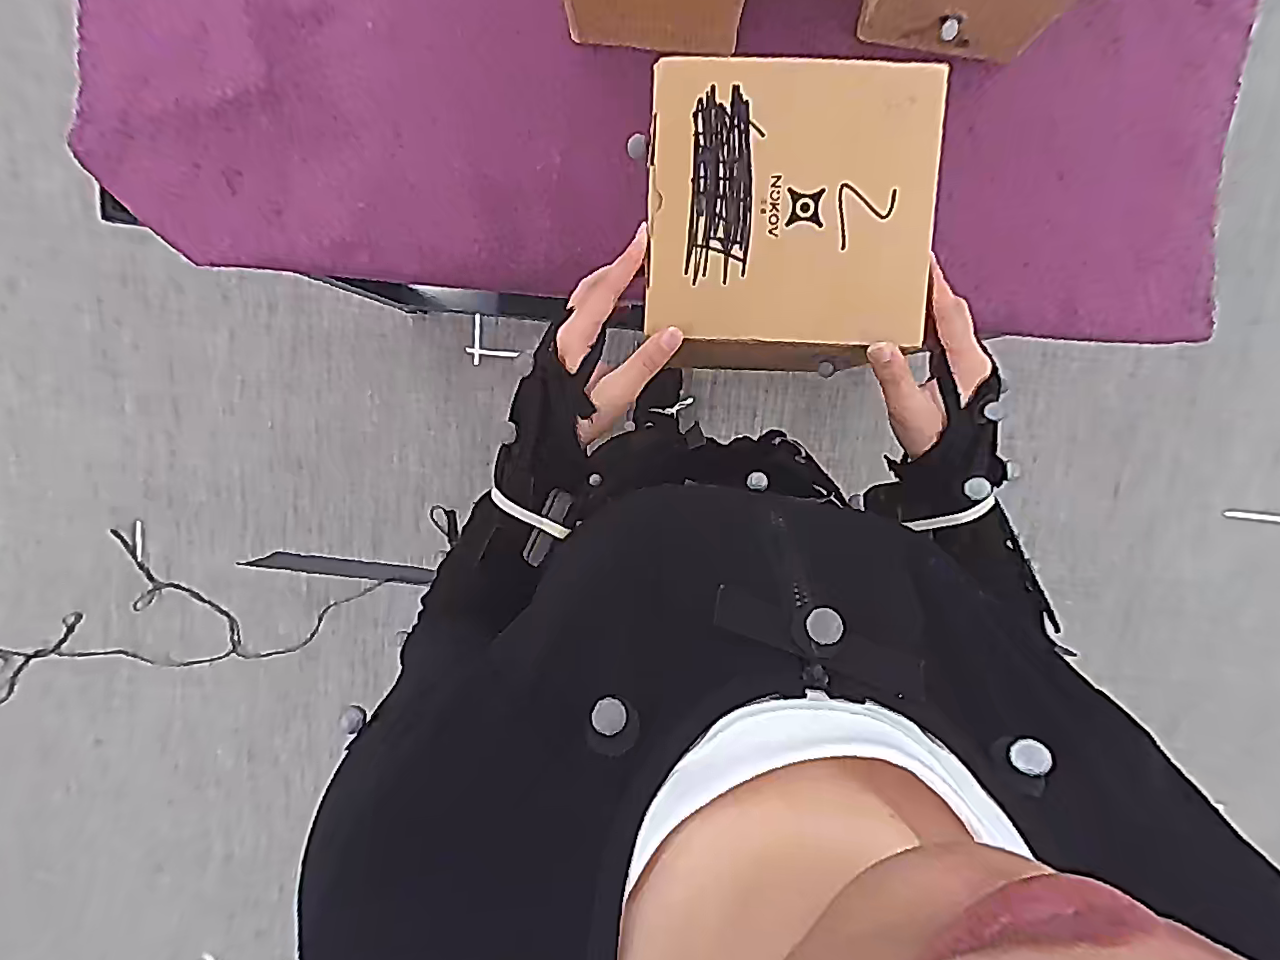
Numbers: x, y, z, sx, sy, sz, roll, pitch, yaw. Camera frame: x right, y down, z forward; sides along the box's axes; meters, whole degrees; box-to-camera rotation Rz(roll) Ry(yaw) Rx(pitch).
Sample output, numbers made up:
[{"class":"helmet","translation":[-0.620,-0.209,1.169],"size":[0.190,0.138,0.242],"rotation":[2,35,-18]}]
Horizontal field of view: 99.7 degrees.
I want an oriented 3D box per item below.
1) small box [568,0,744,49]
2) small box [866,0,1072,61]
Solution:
[{"class":"small box","translation":[0.020,-0.530,0.483],"size":[0.179,0.176,0.168],"rotation":[6,98,0]},{"class":"small box","translation":[0.323,-0.525,0.475],"size":[0.168,0.176,0.179],"rotation":[9,99,0]}]
